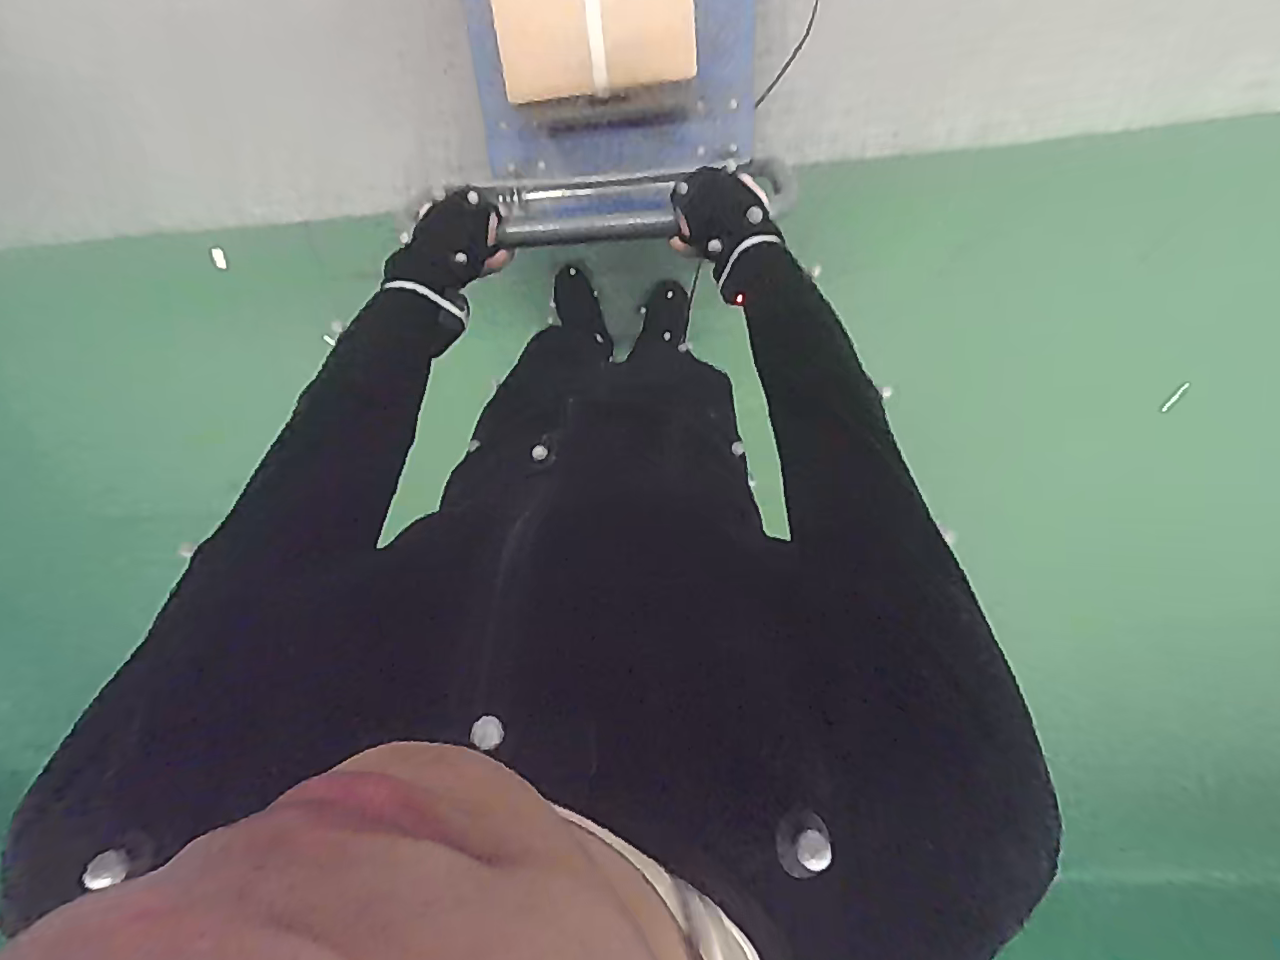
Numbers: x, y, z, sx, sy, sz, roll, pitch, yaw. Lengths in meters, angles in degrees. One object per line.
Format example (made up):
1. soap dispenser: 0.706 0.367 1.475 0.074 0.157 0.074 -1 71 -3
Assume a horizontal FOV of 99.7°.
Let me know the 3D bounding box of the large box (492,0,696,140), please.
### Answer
1. large box: -0.076 -0.867 0.945 0.320 0.320 0.408 -5 116 5
